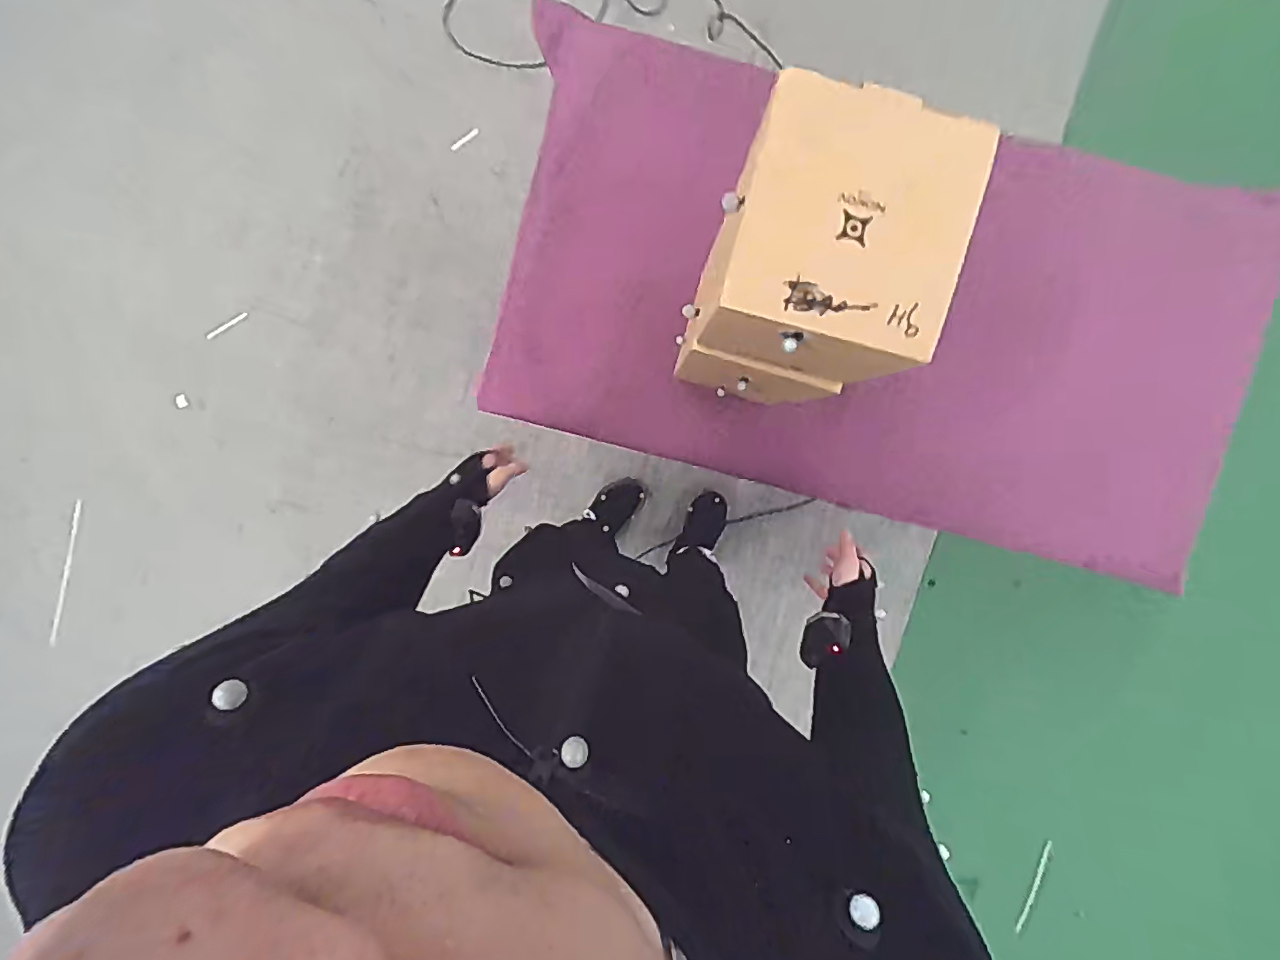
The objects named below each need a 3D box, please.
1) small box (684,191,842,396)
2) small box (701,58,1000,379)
[{"bbox_3d":[0.153,-0.204,0.629,0.168,0.176,0.179,16,95,-2],"label":"small box"},{"bbox_3d":[0.155,-0.198,0.465,0.168,0.176,0.179,15,94,-1],"label":"small box"}]
